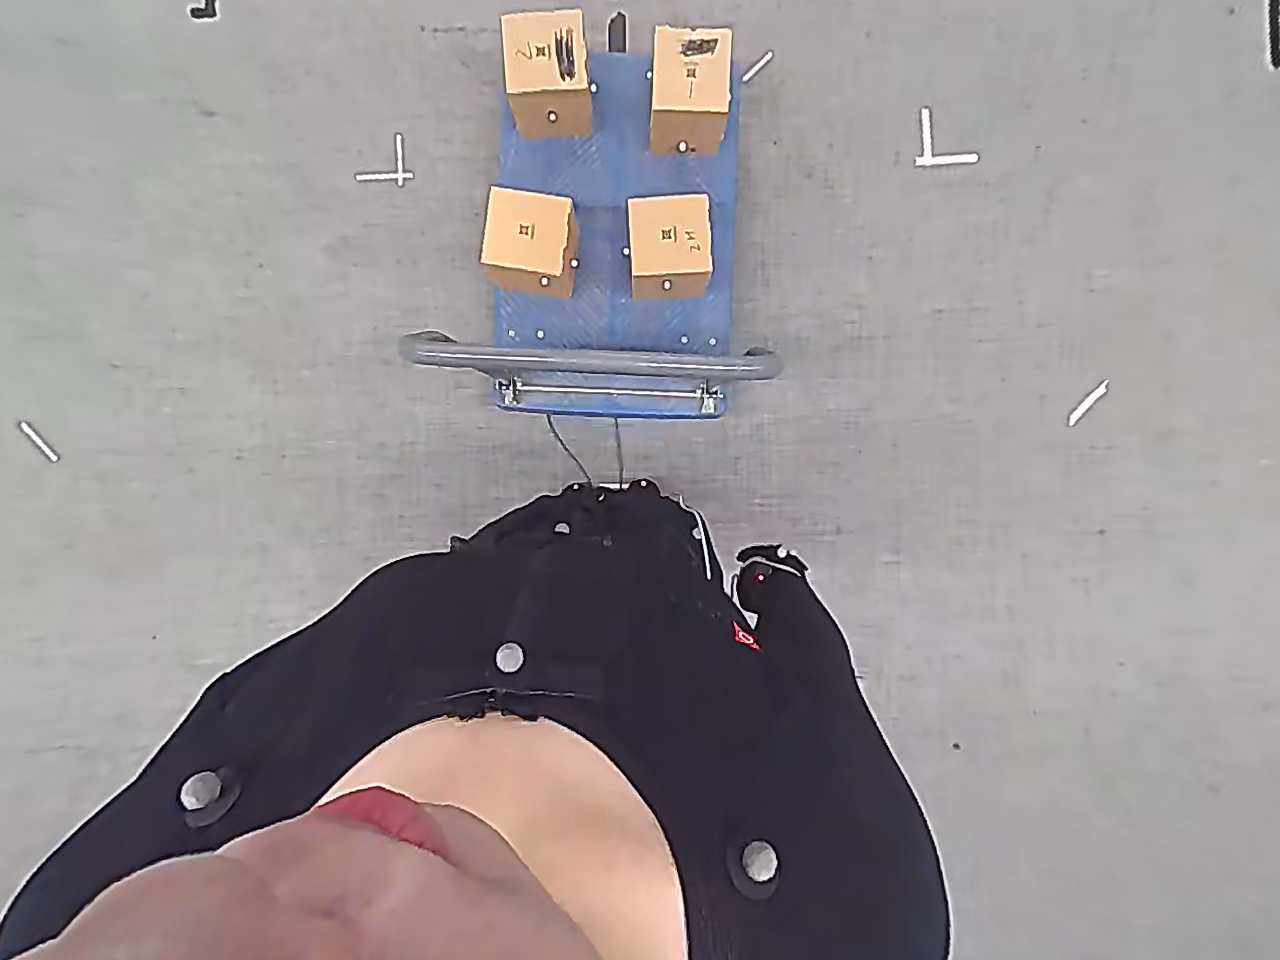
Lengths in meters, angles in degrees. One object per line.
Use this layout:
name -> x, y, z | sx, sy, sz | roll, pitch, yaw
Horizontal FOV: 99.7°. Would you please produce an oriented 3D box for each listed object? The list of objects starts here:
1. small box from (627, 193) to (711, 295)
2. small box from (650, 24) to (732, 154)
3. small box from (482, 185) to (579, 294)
small box -> 0.064, -0.531, 1.237 | 0.179, 0.176, 0.168 | -3, 91, 0
small box -> 0.109, -0.880, 1.230 | 0.168, 0.176, 0.179 | 2, 92, 0
small box -> -0.243, -0.539, 1.236 | 0.179, 0.176, 0.168 | 8, 91, -2
